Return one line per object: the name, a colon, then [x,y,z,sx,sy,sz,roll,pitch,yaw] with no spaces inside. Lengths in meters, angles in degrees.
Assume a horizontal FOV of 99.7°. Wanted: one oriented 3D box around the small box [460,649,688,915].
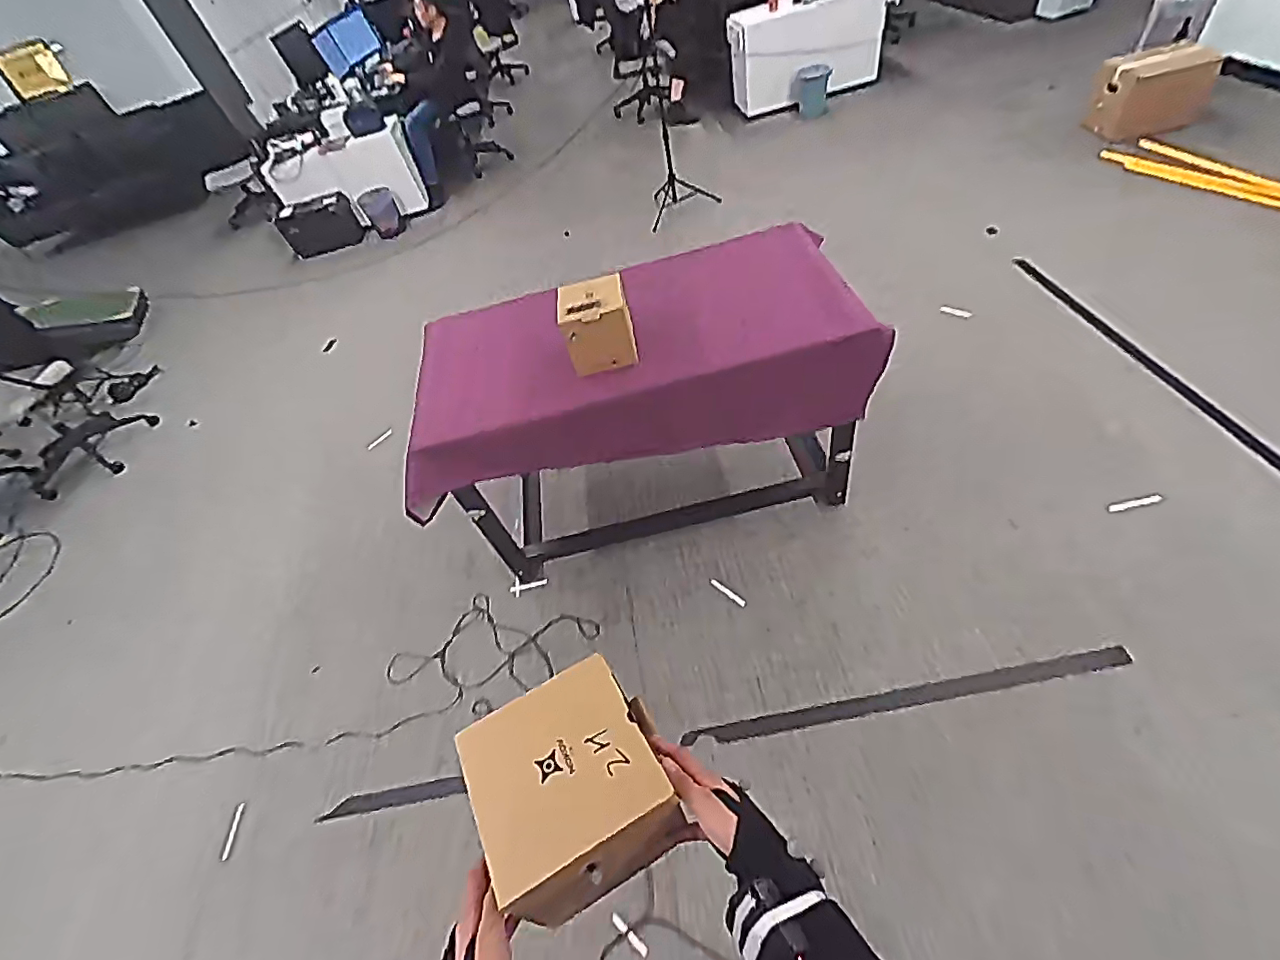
small box: [-0.064,0.326,0.583,0.179,0.176,0.168,-26,46,-13]
